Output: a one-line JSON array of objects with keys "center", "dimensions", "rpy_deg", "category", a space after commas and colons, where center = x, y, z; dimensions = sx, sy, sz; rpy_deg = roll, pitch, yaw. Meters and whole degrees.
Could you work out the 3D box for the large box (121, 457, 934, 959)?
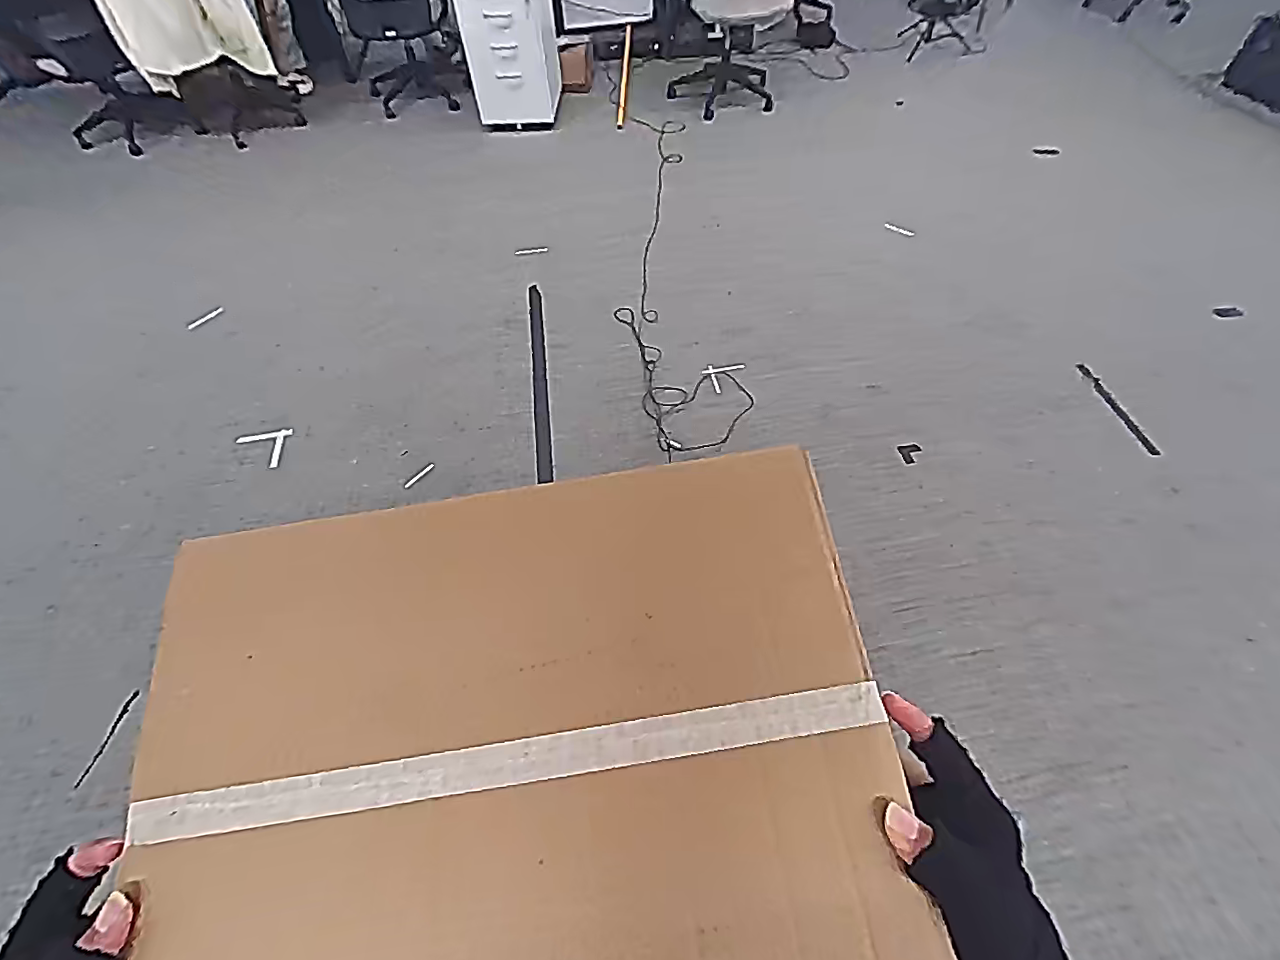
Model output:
[{"center": [-0.064, 0.211, 0.437], "dimensions": [0.408, 0.320, 0.320], "rpy_deg": [-9, 67, 0], "category": "large box"}]
